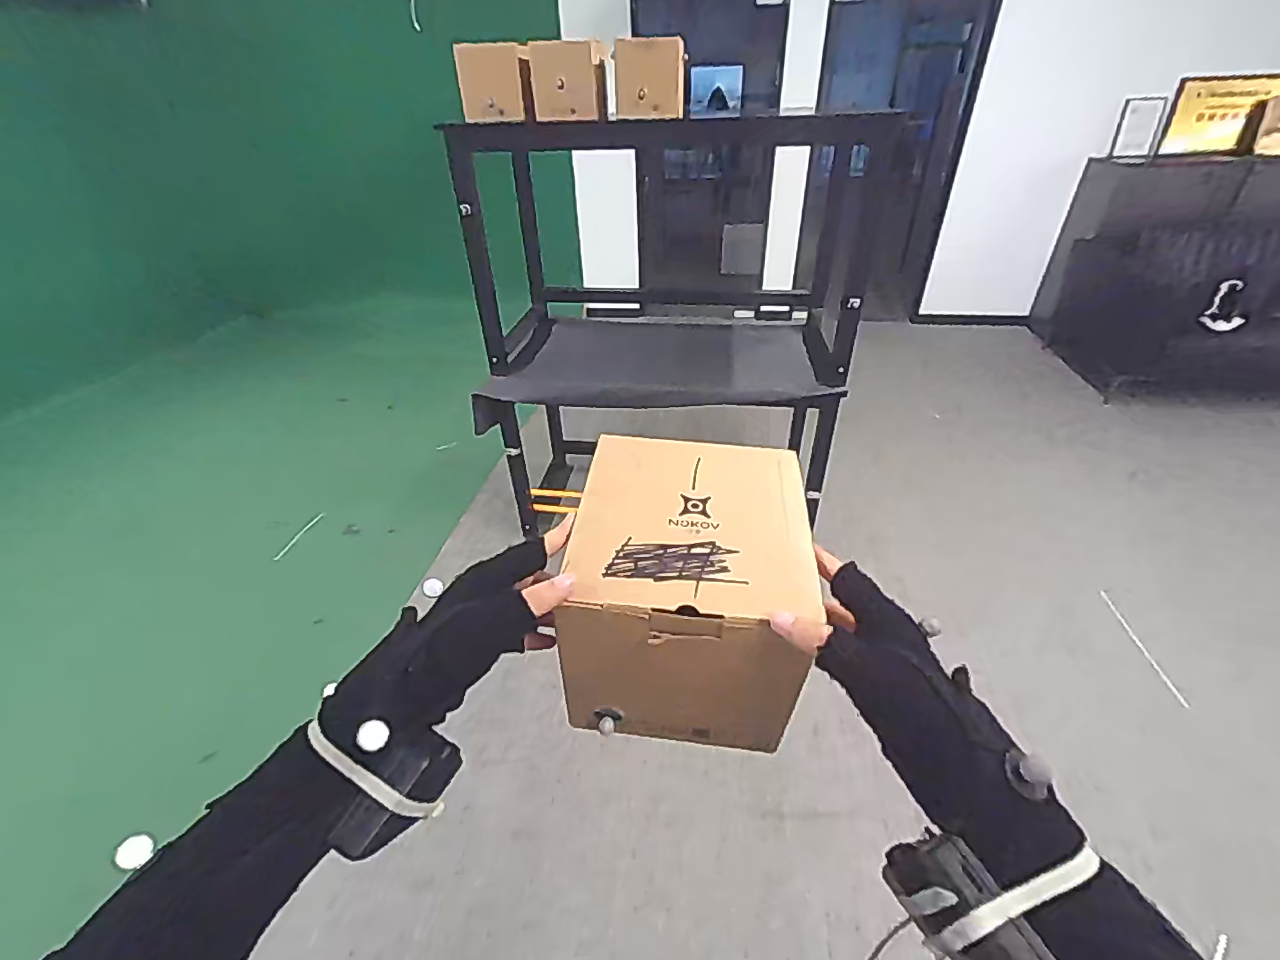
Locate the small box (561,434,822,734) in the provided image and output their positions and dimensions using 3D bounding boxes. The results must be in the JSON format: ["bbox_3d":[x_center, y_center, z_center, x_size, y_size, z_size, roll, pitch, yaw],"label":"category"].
[{"bbox_3d":[0.040,0.084,0.447,0.168,0.176,0.179,5,39,4],"label":"small box"}]
